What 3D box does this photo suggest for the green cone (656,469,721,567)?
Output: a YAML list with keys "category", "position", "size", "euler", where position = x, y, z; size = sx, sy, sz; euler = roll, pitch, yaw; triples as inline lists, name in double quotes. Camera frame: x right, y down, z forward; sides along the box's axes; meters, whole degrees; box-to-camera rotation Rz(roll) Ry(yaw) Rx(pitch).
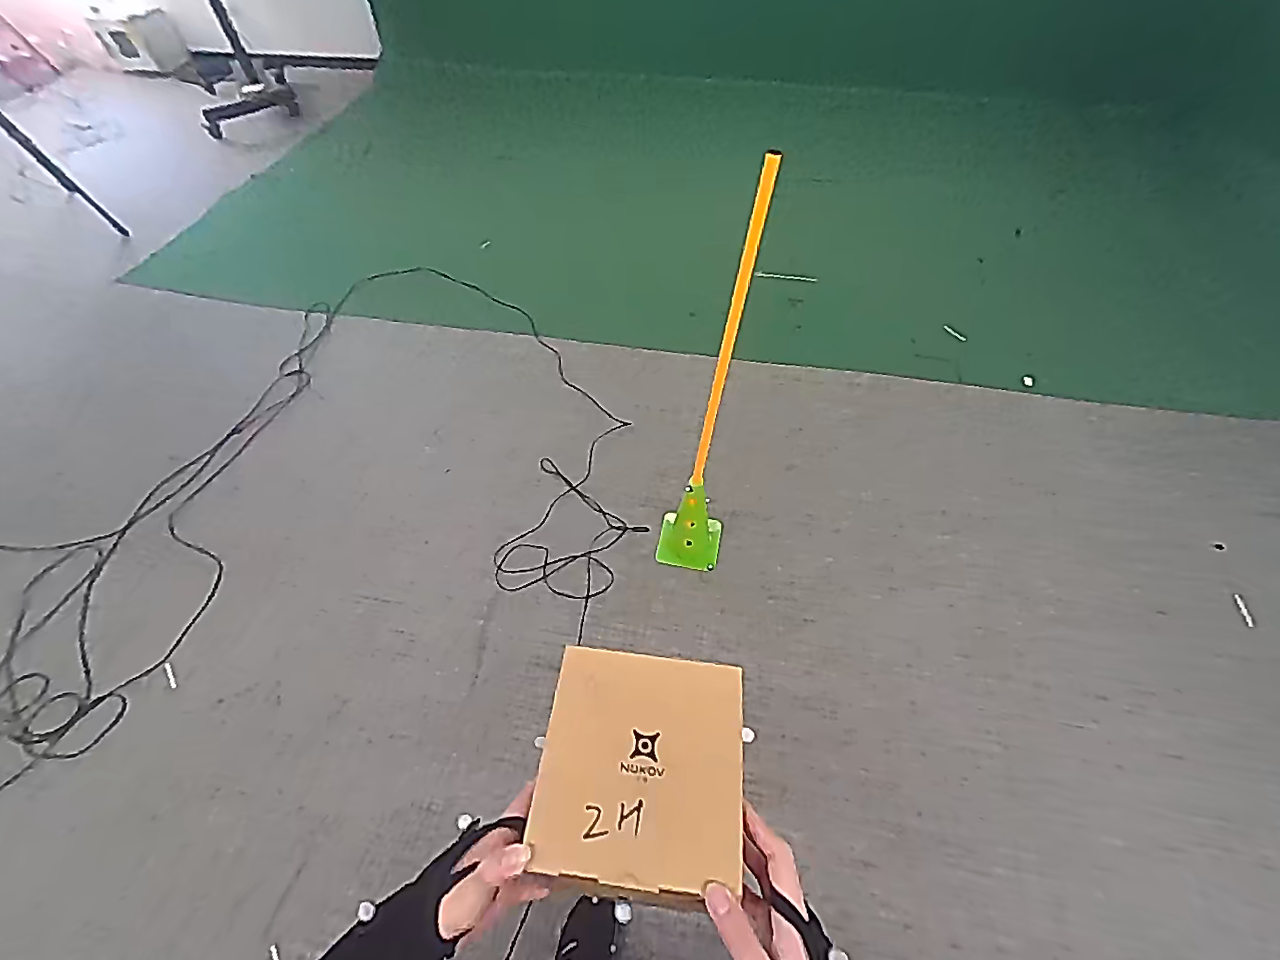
- category: "green cone"
  position: [0.159, 0.089, 1.669]
  size: [0.202, 0.368, 0.200]
  euler: [9, 54, 9]
